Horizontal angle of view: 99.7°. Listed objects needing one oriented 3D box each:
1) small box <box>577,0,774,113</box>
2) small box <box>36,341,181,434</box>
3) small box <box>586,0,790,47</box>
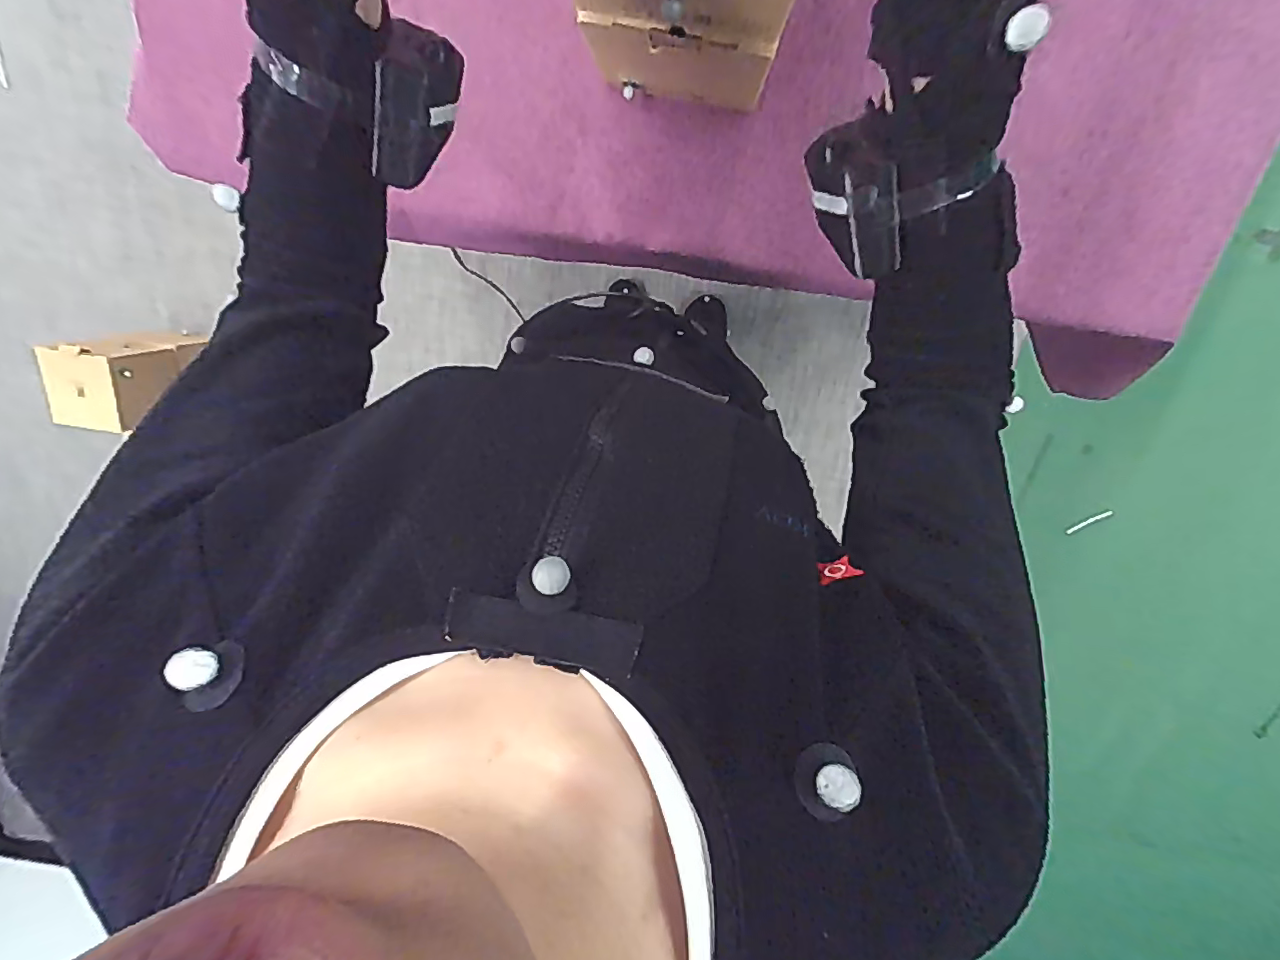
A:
[{"bbox_3d":[0.050,-0.463,0.487,0.168,0.176,0.179,11,110,0],"label":"small box"},{"bbox_3d":[-1.239,-0.223,1.279,0.168,0.176,0.179,8,110,2],"label":"small box"},{"bbox_3d":[0.037,-0.415,0.331,0.168,0.176,0.179,11,111,1],"label":"small box"}]
